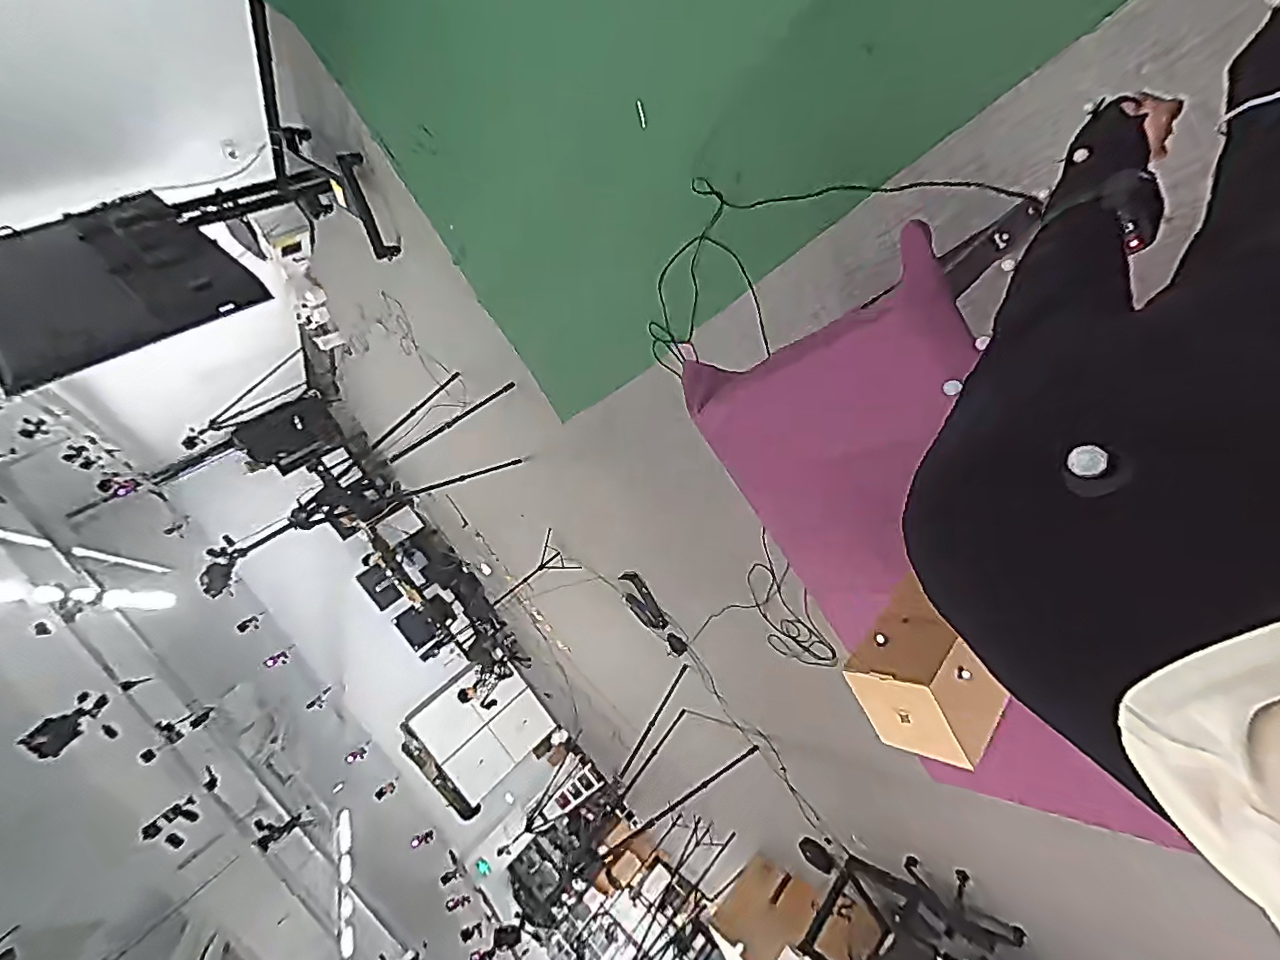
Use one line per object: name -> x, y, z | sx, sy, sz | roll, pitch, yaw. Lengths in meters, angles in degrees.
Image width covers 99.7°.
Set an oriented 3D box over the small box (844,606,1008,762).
small box -> 0.497, 0.339, 0.940 | 0.179, 0.176, 0.168 | 59, 150, -10
